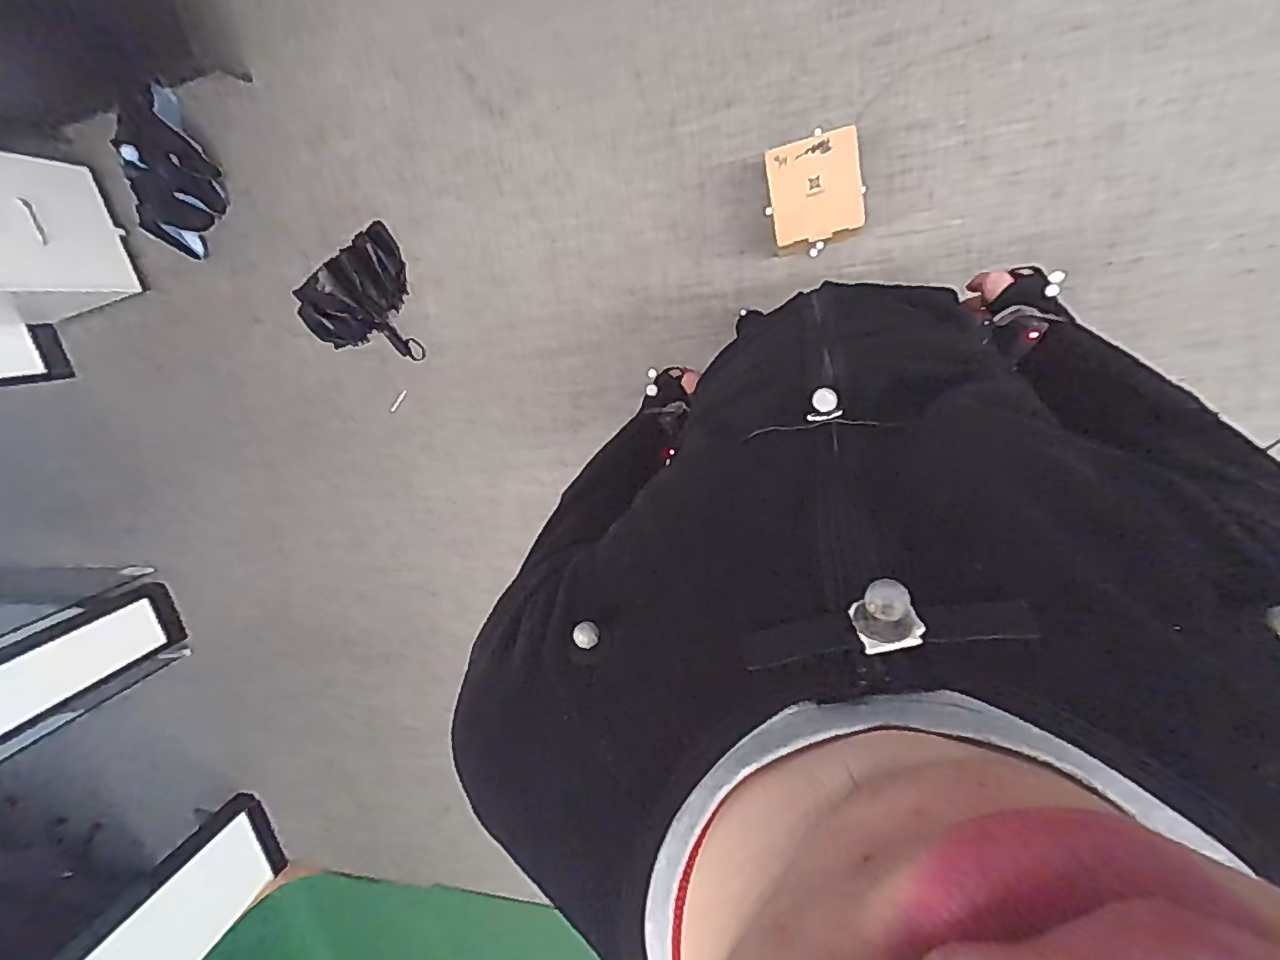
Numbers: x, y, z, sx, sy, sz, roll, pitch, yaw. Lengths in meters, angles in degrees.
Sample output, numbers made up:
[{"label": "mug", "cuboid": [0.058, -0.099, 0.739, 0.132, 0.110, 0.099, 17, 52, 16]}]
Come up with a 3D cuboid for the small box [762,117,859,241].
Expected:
[{"label": "small box", "cuboid": [0.346, -0.593, 1.093, 0.168, 0.176, 0.179, -6, 108, 19]}]

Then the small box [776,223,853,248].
[{"label": "small box", "cuboid": [0.386, -0.646, 1.242, 0.168, 0.176, 0.179, -8, 108, 19]}]
